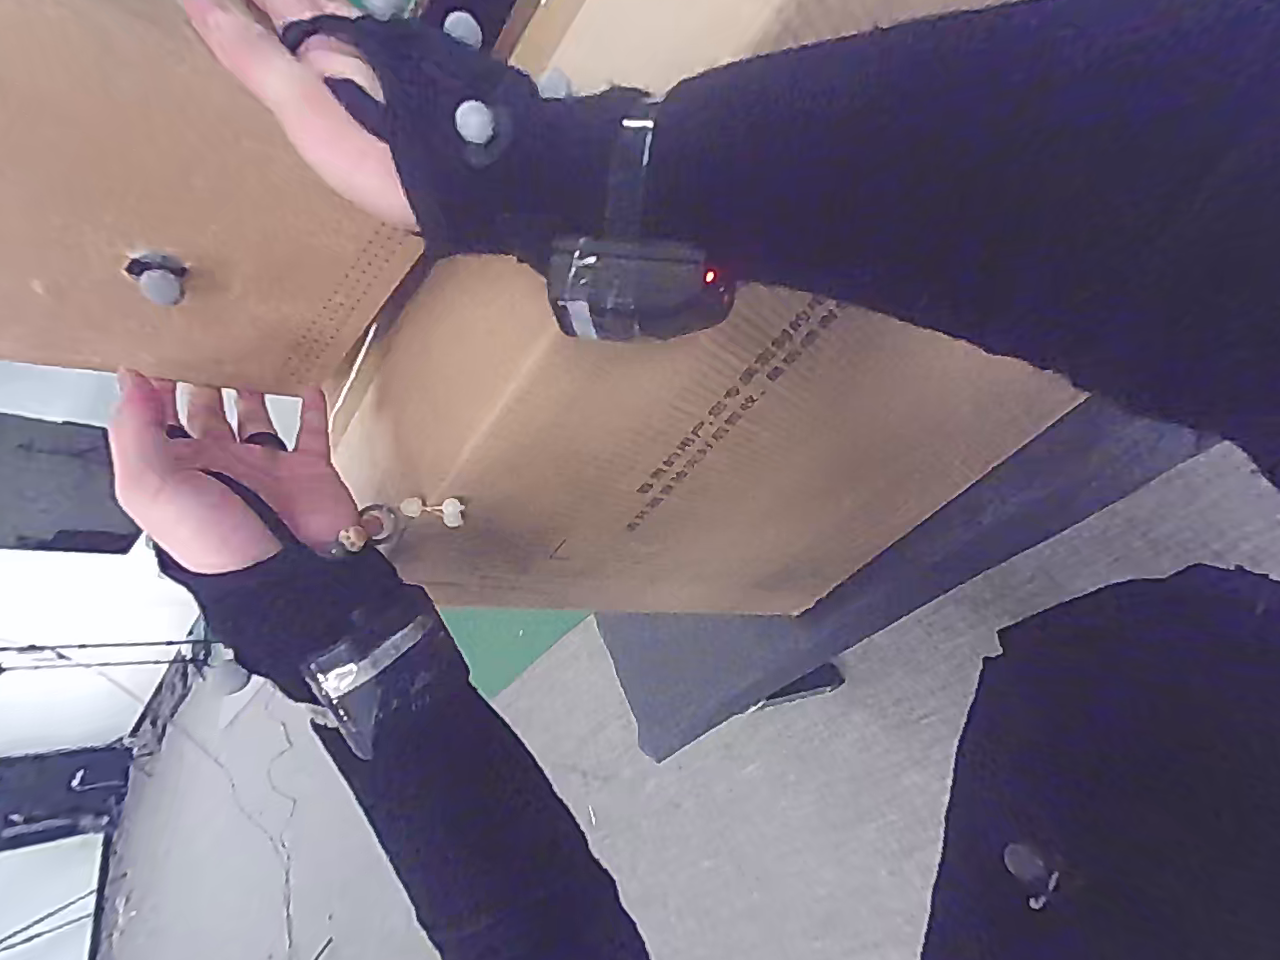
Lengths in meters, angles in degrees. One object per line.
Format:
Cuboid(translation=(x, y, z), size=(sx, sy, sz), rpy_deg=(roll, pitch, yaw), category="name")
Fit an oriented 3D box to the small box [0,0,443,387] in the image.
Cuboid(translation=(-0.234, -0.167, 0.271), size=(0.179, 0.176, 0.168), rpy_deg=(-38, 72, 26), category="small box")
